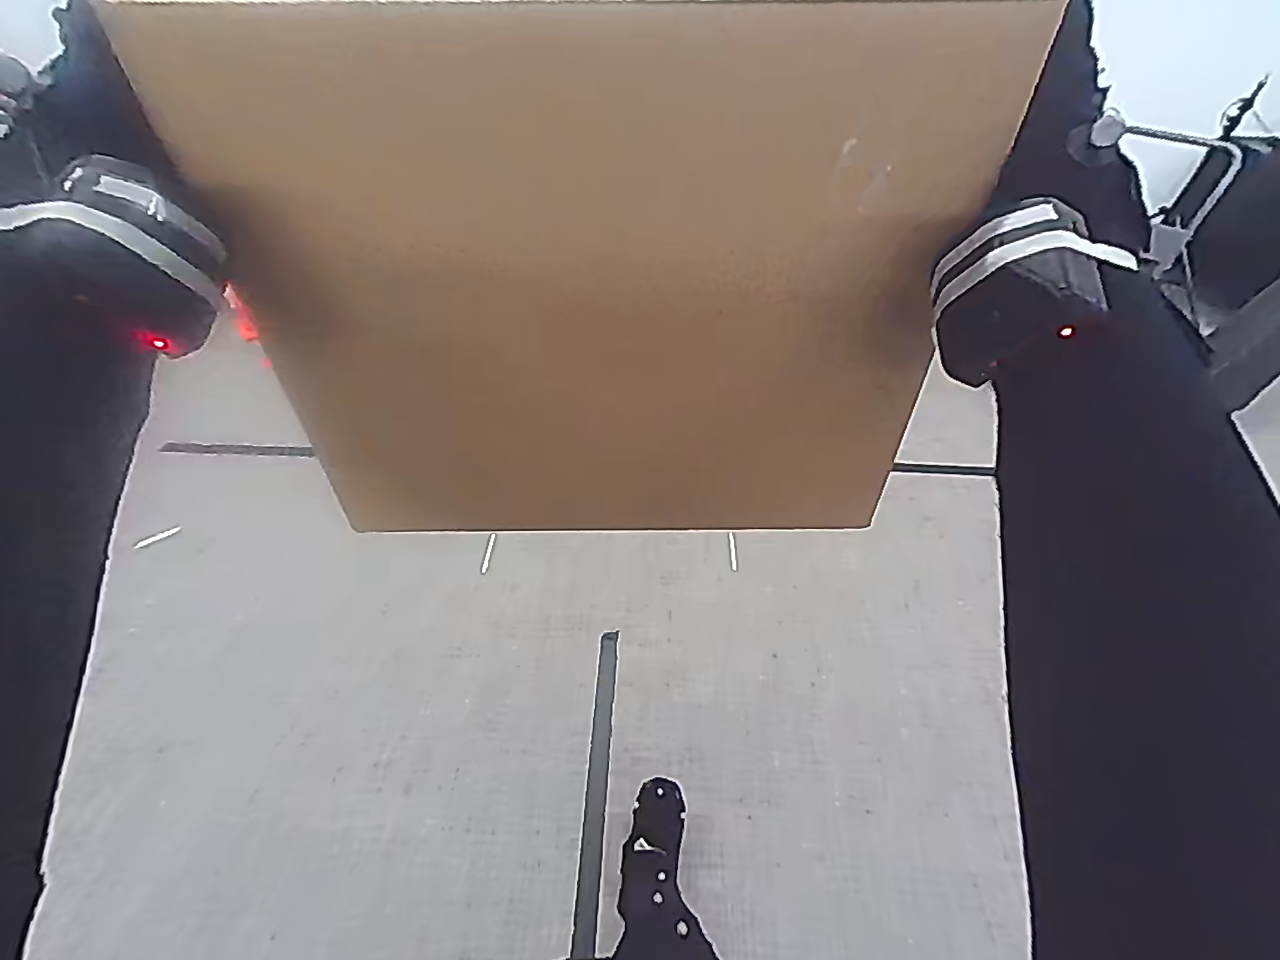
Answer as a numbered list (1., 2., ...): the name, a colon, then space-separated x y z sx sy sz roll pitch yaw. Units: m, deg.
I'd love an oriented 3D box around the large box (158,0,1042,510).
1. large box: -0.019 -0.186 0.446 0.408 0.320 0.320 0 41 -1
